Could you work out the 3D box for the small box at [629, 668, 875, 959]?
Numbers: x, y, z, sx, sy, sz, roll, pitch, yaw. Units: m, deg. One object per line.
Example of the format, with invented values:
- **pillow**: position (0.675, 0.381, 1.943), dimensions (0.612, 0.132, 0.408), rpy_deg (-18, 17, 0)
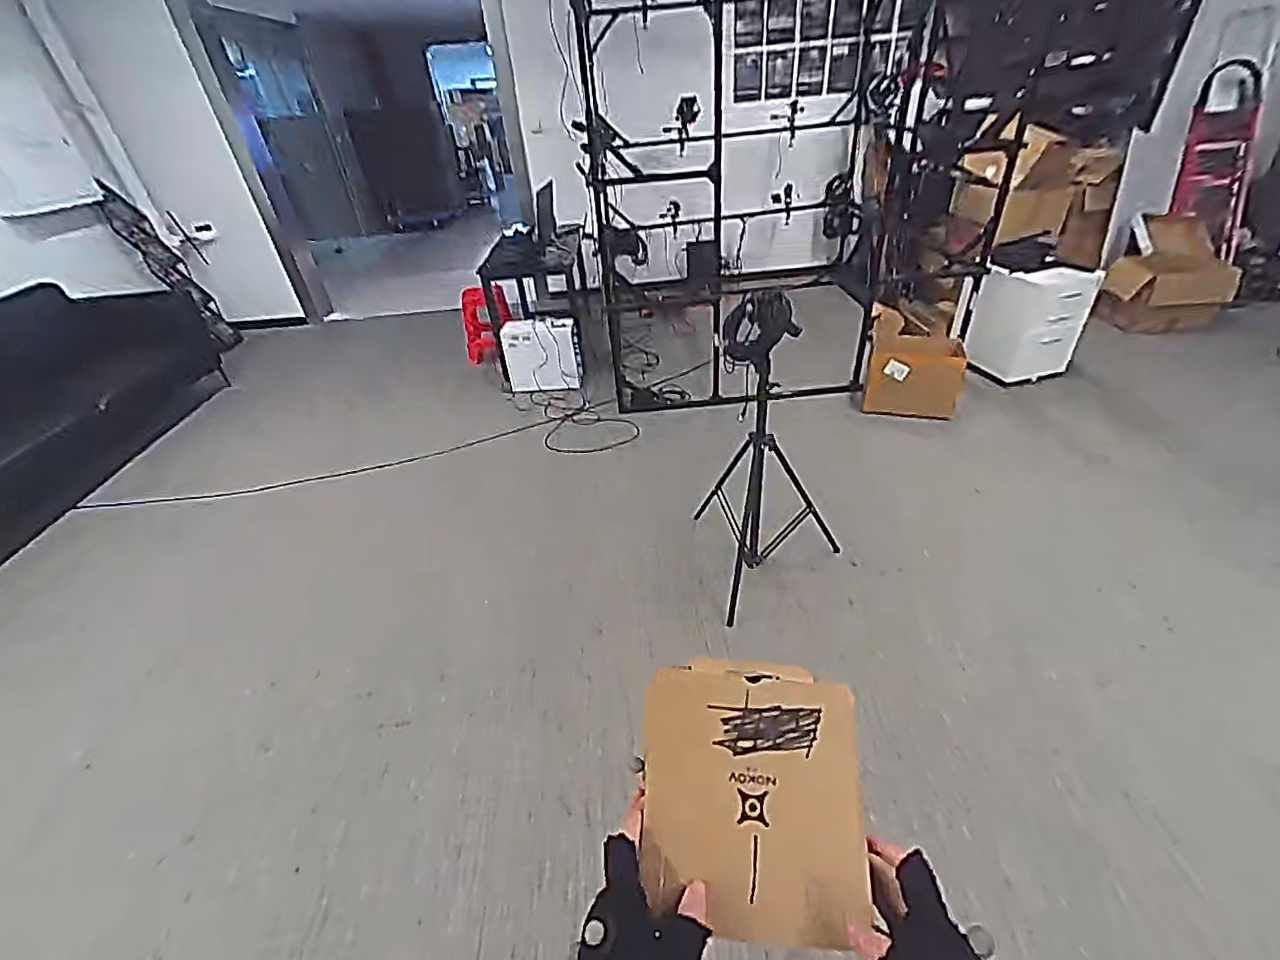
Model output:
- **small box**: position (0.080, 0.276, 0.471), dimensions (0.168, 0.176, 0.179), rpy_deg (5, 61, 1)
